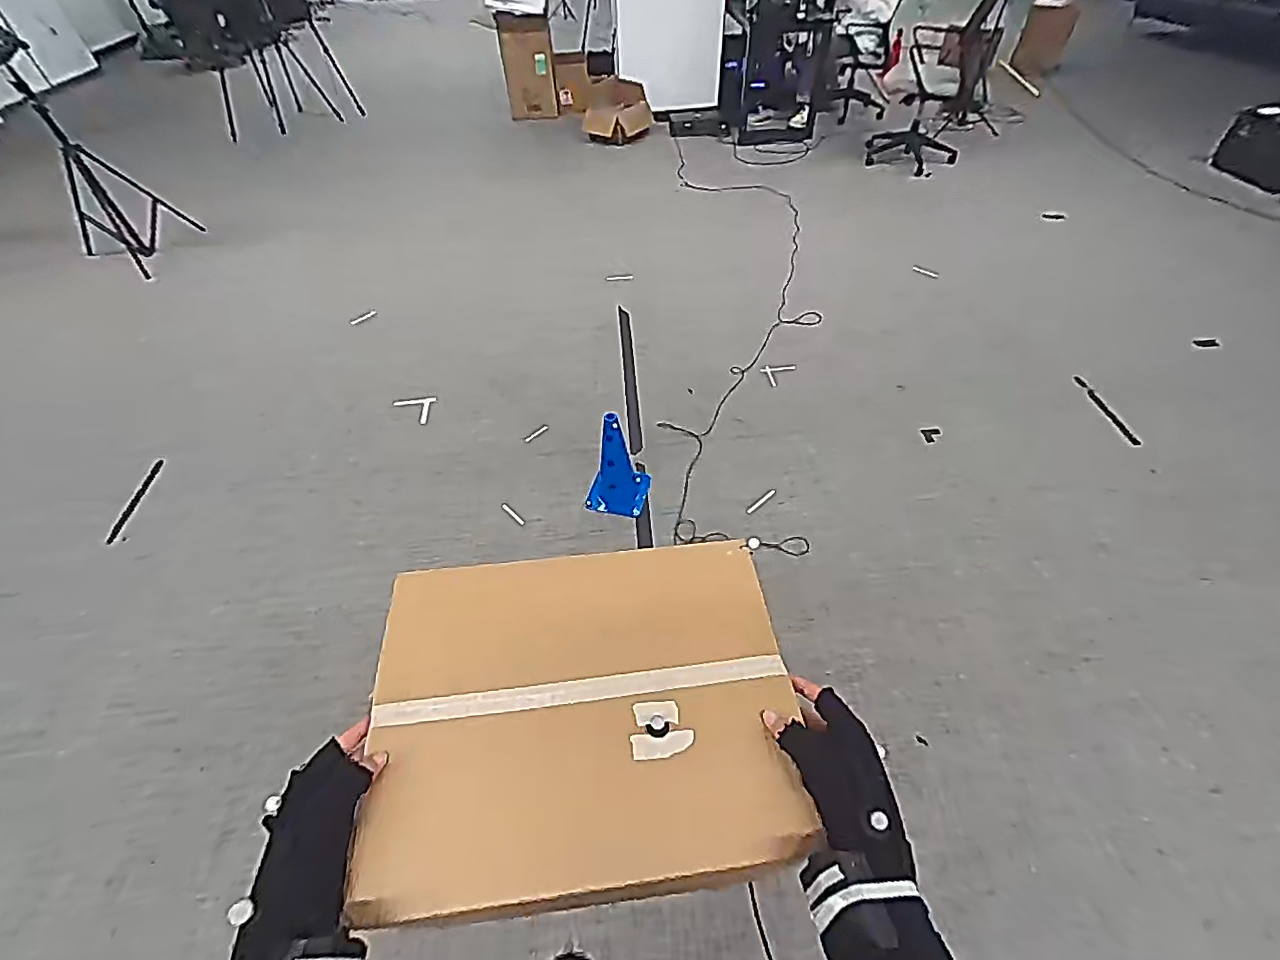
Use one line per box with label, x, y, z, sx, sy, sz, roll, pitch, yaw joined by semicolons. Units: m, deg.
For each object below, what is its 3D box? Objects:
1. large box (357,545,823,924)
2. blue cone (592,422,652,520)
large box;-0.057;0.309;0.660;0.408;0.320;0.320;-5;51;-5
blue cone;-0.071;-0.052;1.806;0.193;0.380;0.192;11;51;13
